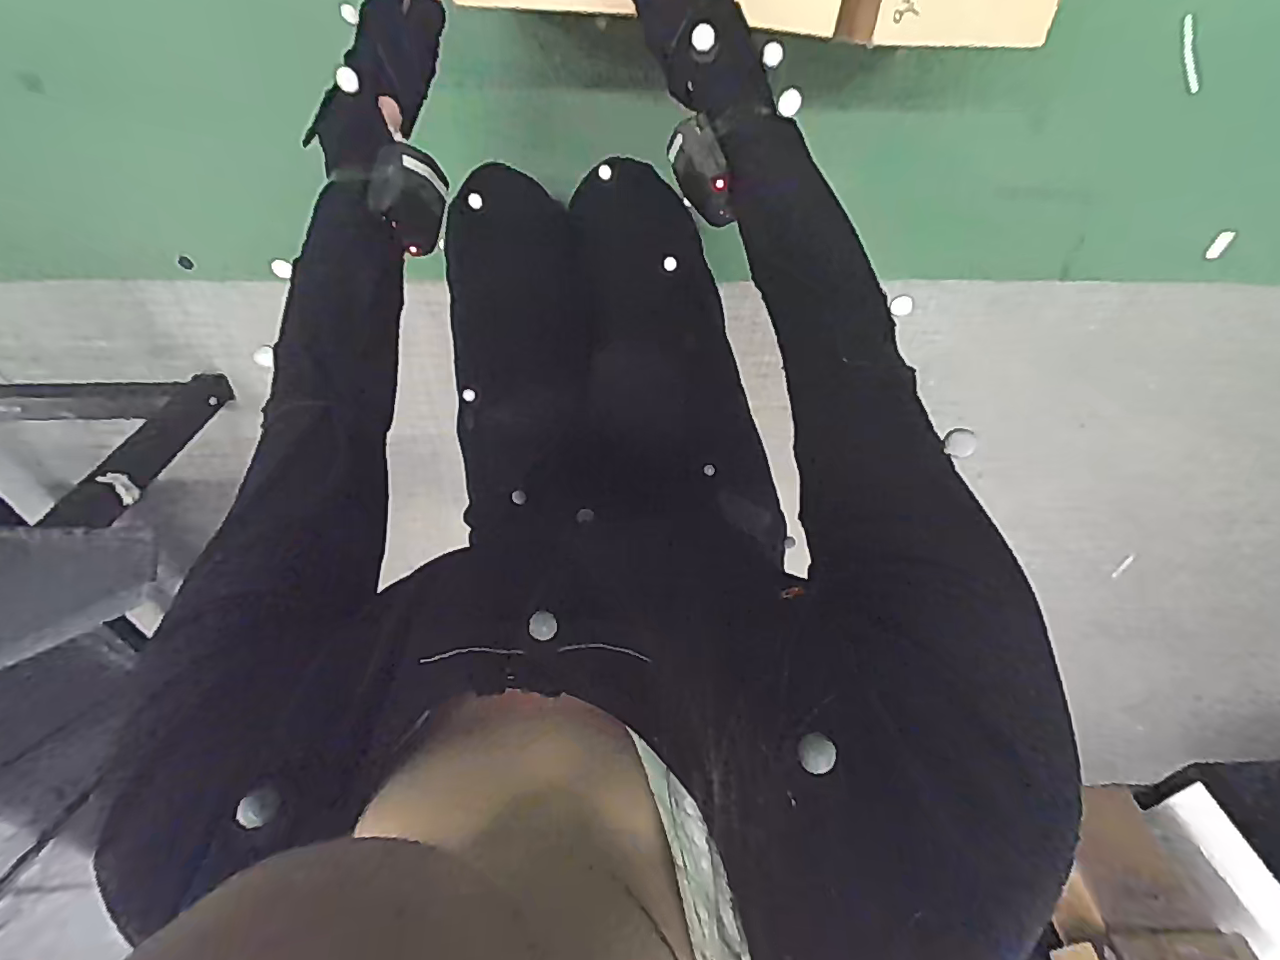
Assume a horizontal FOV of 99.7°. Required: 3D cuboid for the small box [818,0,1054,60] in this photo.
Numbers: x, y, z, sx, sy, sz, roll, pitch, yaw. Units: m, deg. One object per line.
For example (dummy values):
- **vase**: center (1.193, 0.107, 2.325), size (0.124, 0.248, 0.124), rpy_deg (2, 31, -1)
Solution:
- **small box**: center (0.304, -0.536, 0.542), size (0.179, 0.176, 0.168), rpy_deg (0, 131, -3)
